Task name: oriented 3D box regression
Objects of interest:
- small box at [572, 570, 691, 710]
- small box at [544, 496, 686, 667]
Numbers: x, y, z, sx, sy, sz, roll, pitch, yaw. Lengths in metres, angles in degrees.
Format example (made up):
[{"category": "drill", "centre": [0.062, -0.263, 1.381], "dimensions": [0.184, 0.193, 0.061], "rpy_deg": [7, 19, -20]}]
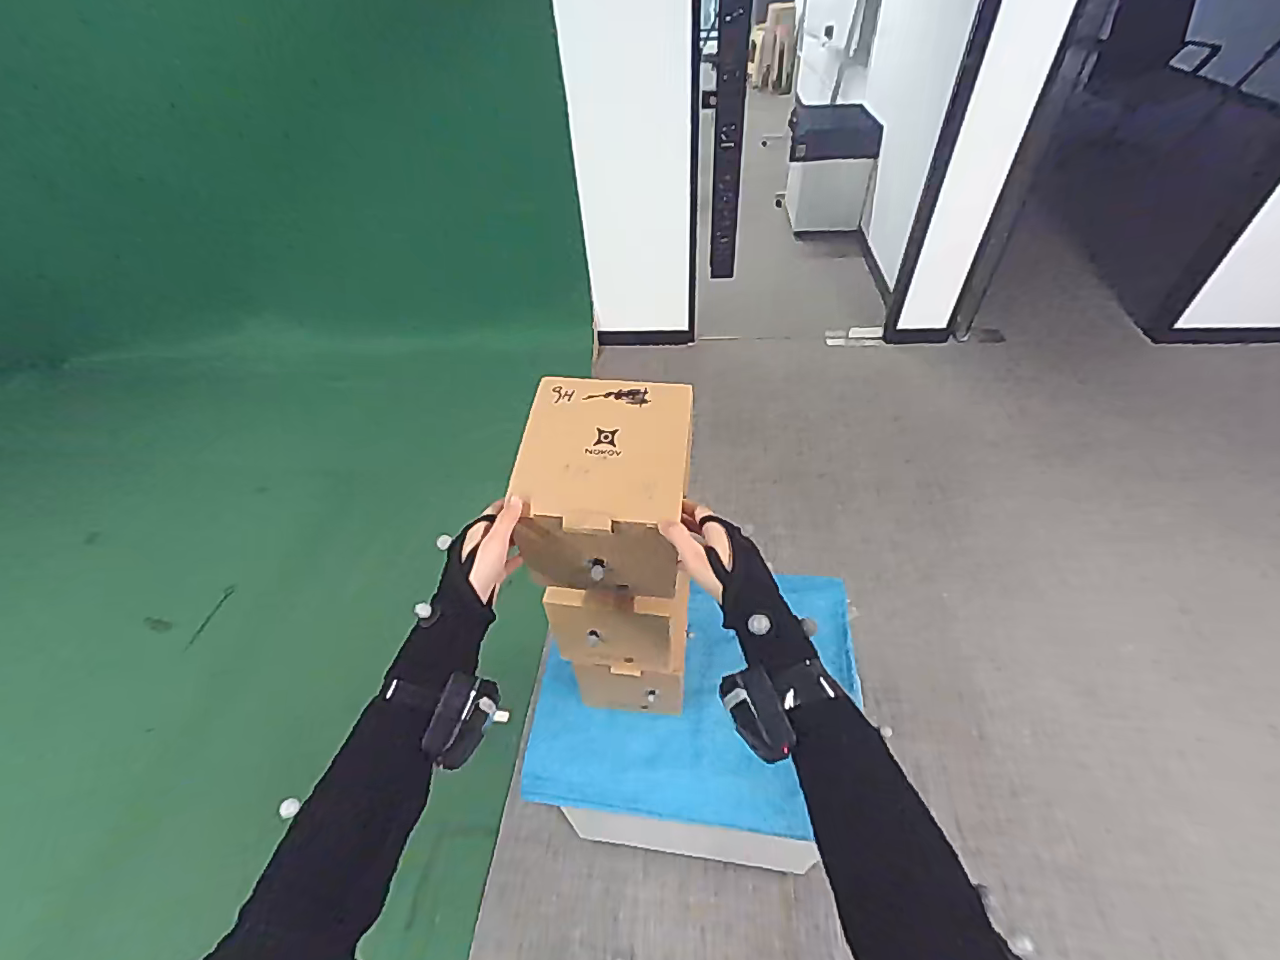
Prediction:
[{"category": "small box", "centre": [-0.004, 0.260, 0.894], "dimensions": [0.168, 0.176, 0.179], "rpy_deg": [4, 46, 7]}, {"category": "small box", "centre": [-0.024, 0.148, 0.779], "dimensions": [0.168, 0.176, 0.179], "rpy_deg": [5, 46, 8]}]
